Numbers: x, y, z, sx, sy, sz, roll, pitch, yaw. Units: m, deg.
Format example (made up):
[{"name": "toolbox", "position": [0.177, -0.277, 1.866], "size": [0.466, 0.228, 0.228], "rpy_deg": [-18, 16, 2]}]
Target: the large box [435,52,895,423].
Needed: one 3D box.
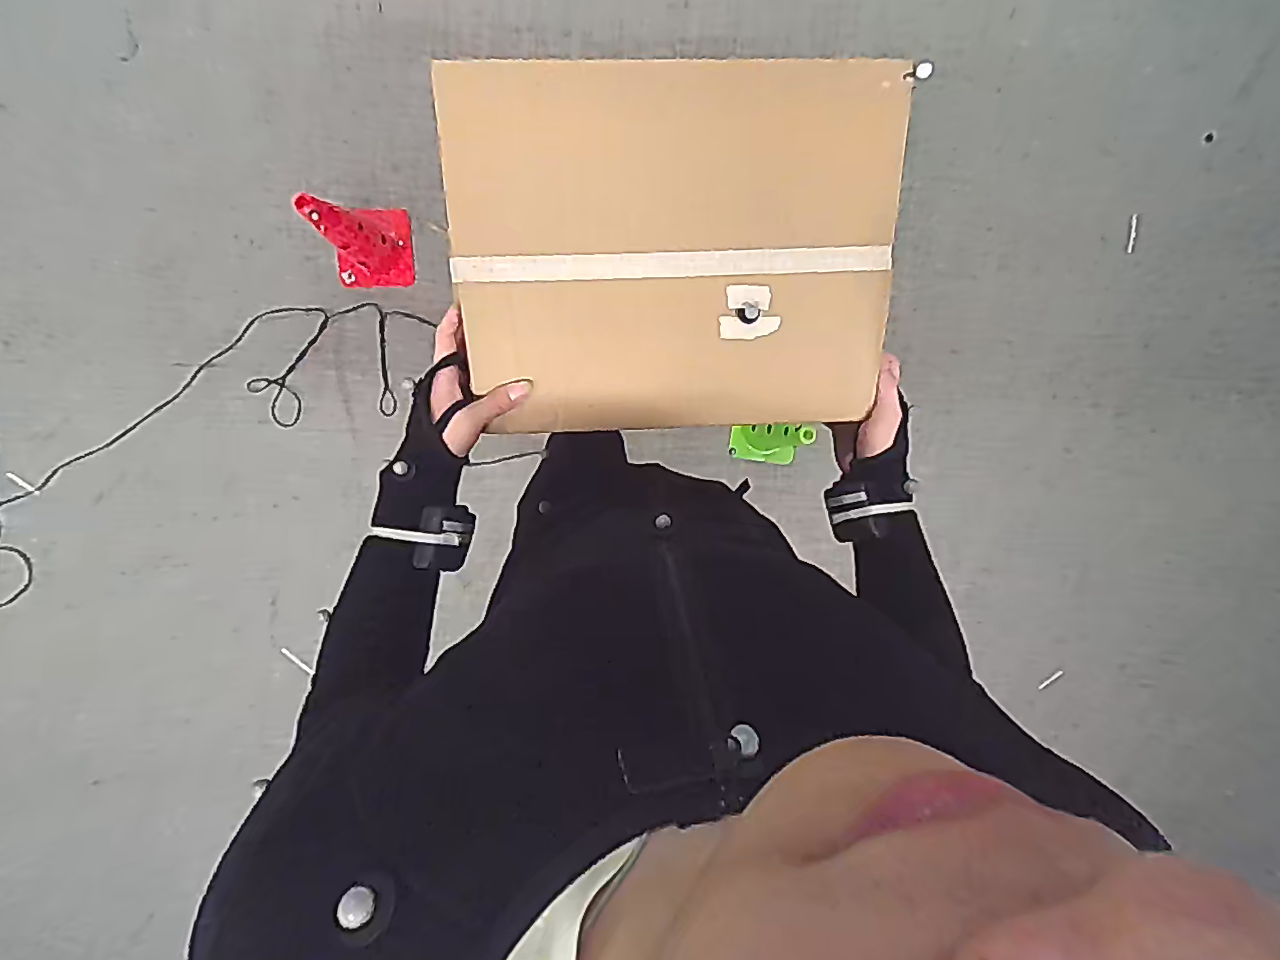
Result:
[{"name": "large box", "position": [0.019, -0.262, 0.647], "size": [0.408, 0.320, 0.320], "rpy_deg": [-3, 110, -4]}]

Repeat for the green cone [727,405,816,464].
[{"name": "green cone", "position": [0.379, -0.133, 1.432], "size": [0.200, 0.368, 0.202], "rpy_deg": [7, 97, -5]}]
